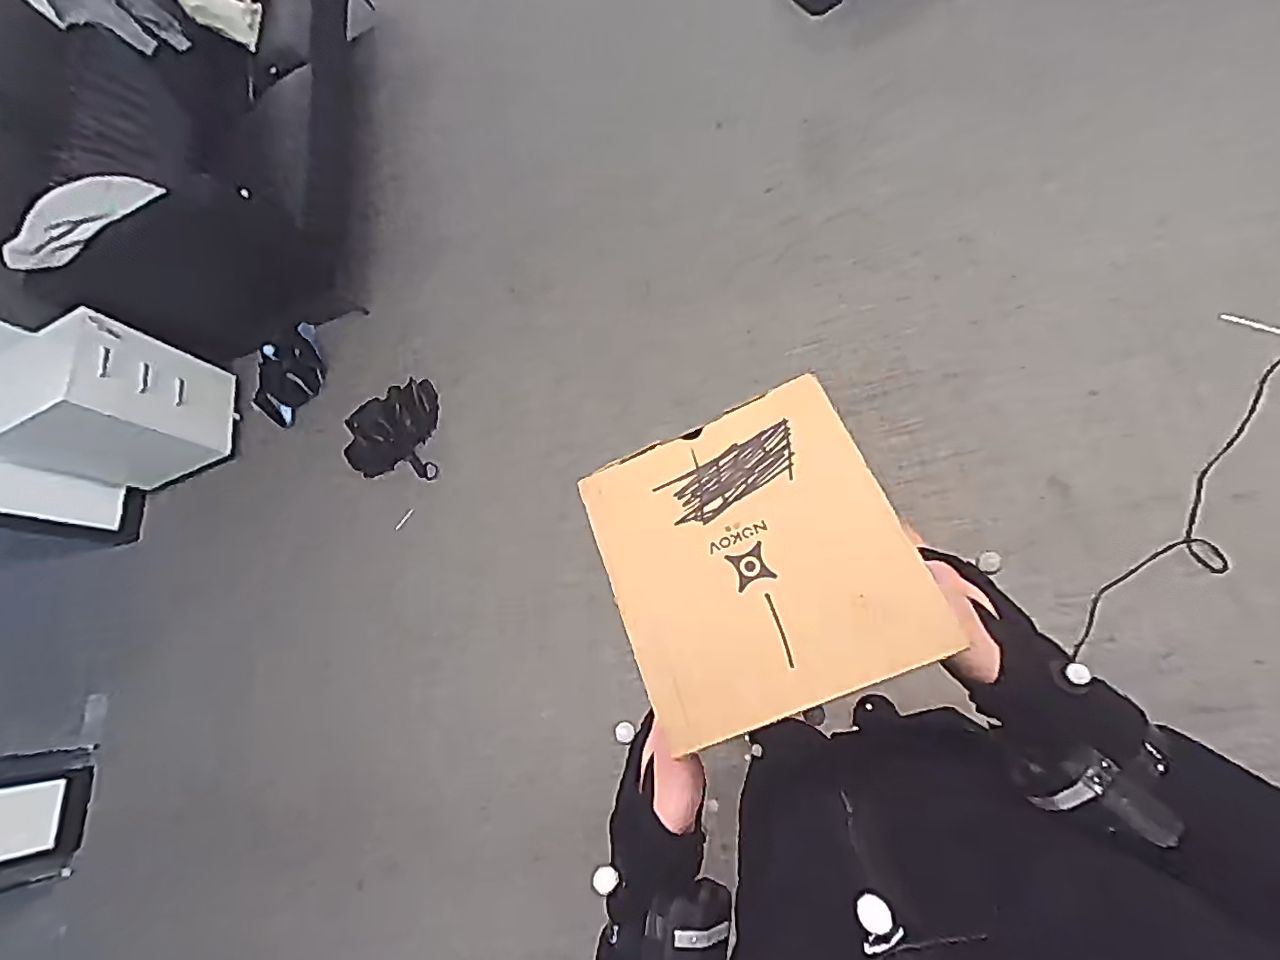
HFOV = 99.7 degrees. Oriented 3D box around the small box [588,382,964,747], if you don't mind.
[{"bbox_3d":[0.086,0.068,0.387,0.168,0.176,0.179,-24,65,8],"label":"small box"}]
